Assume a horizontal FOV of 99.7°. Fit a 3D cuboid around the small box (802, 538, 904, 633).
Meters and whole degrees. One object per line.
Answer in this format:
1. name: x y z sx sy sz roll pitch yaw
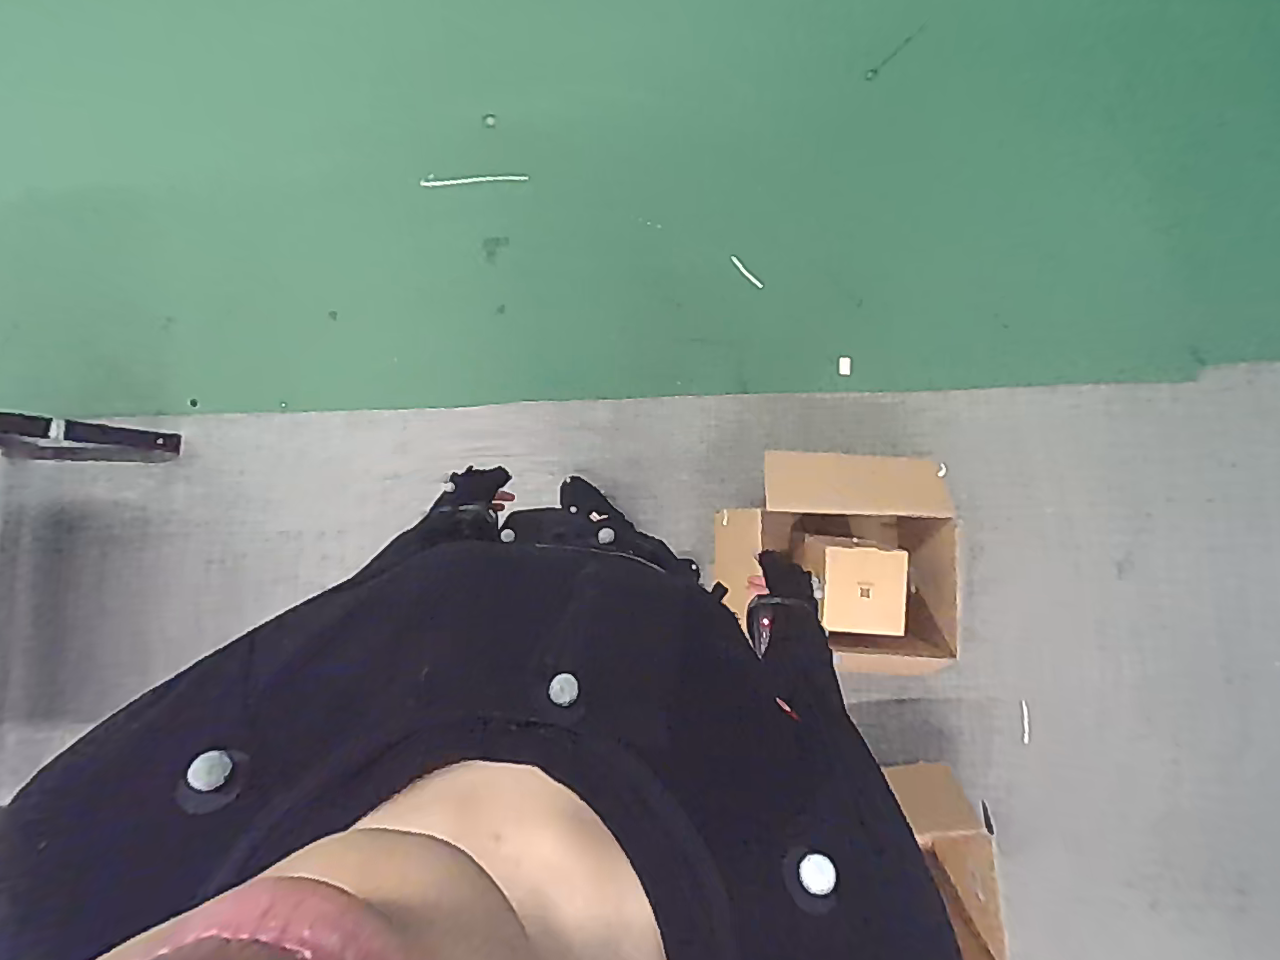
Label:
1. small box: 0.460 0.226 1.191 0.168 0.176 0.179 3 88 2
